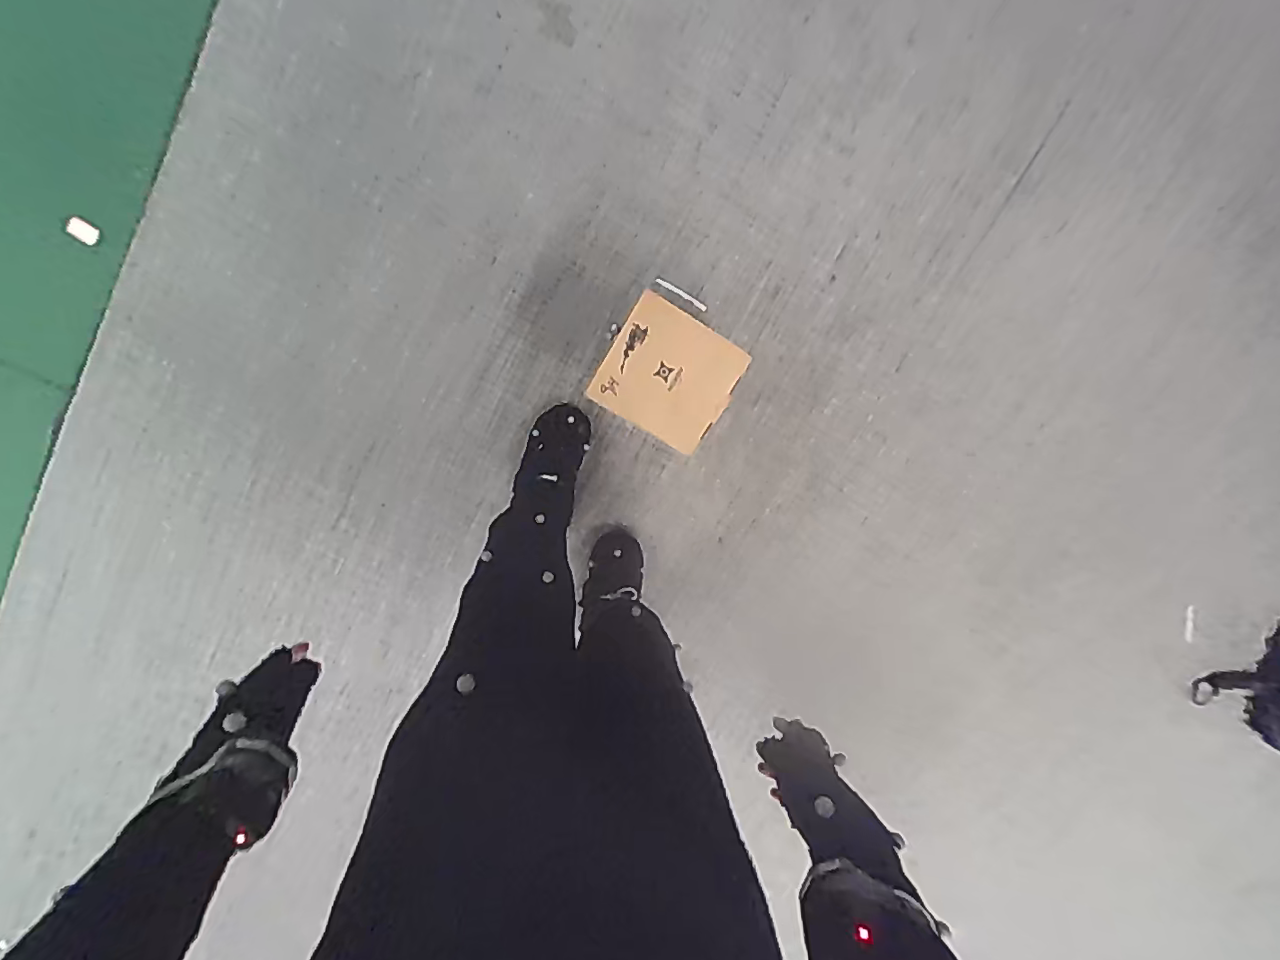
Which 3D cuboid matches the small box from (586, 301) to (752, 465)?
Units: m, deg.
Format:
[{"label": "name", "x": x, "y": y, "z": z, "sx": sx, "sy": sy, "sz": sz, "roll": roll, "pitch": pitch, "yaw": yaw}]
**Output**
[{"label": "small box", "x": 0.035, "y": -0.149, "z": 0.819, "sx": 0.179, "sy": 0.176, "sz": 0.168, "roll": 31, "pitch": 99, "yaw": -10}]
